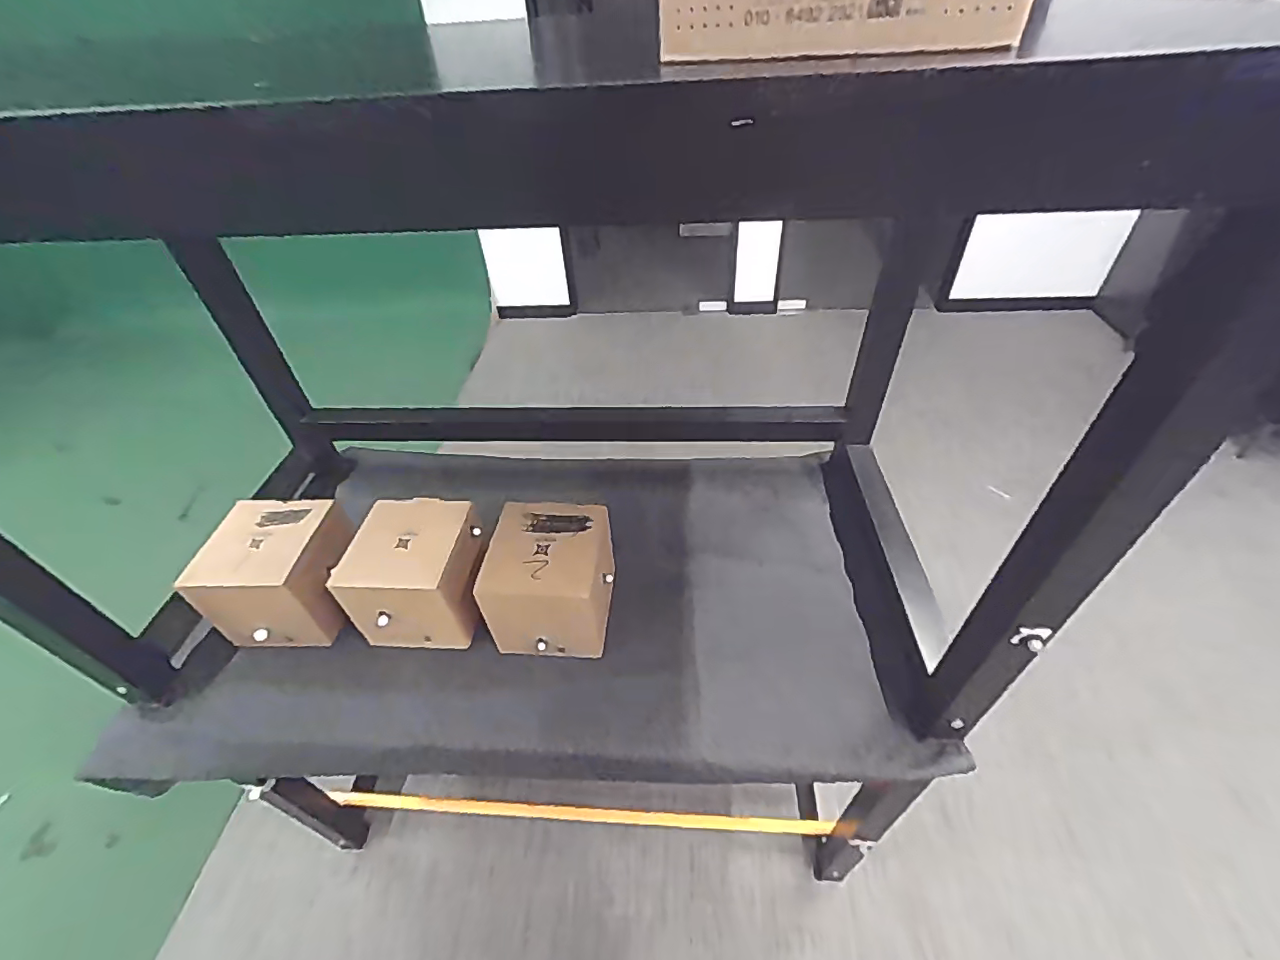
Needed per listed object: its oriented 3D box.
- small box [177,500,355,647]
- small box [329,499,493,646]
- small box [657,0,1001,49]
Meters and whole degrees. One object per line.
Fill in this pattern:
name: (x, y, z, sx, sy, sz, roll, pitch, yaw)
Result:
small box: (-0.577, 0.151, 0.884, 0.168, 0.176, 0.179, -1, 43, 3)
small box: (-0.351, 0.150, 0.871, 0.168, 0.176, 0.179, 1, 42, 4)
small box: (0.099, -0.327, 0.269, 0.168, 0.176, 0.179, 6, 43, 11)
